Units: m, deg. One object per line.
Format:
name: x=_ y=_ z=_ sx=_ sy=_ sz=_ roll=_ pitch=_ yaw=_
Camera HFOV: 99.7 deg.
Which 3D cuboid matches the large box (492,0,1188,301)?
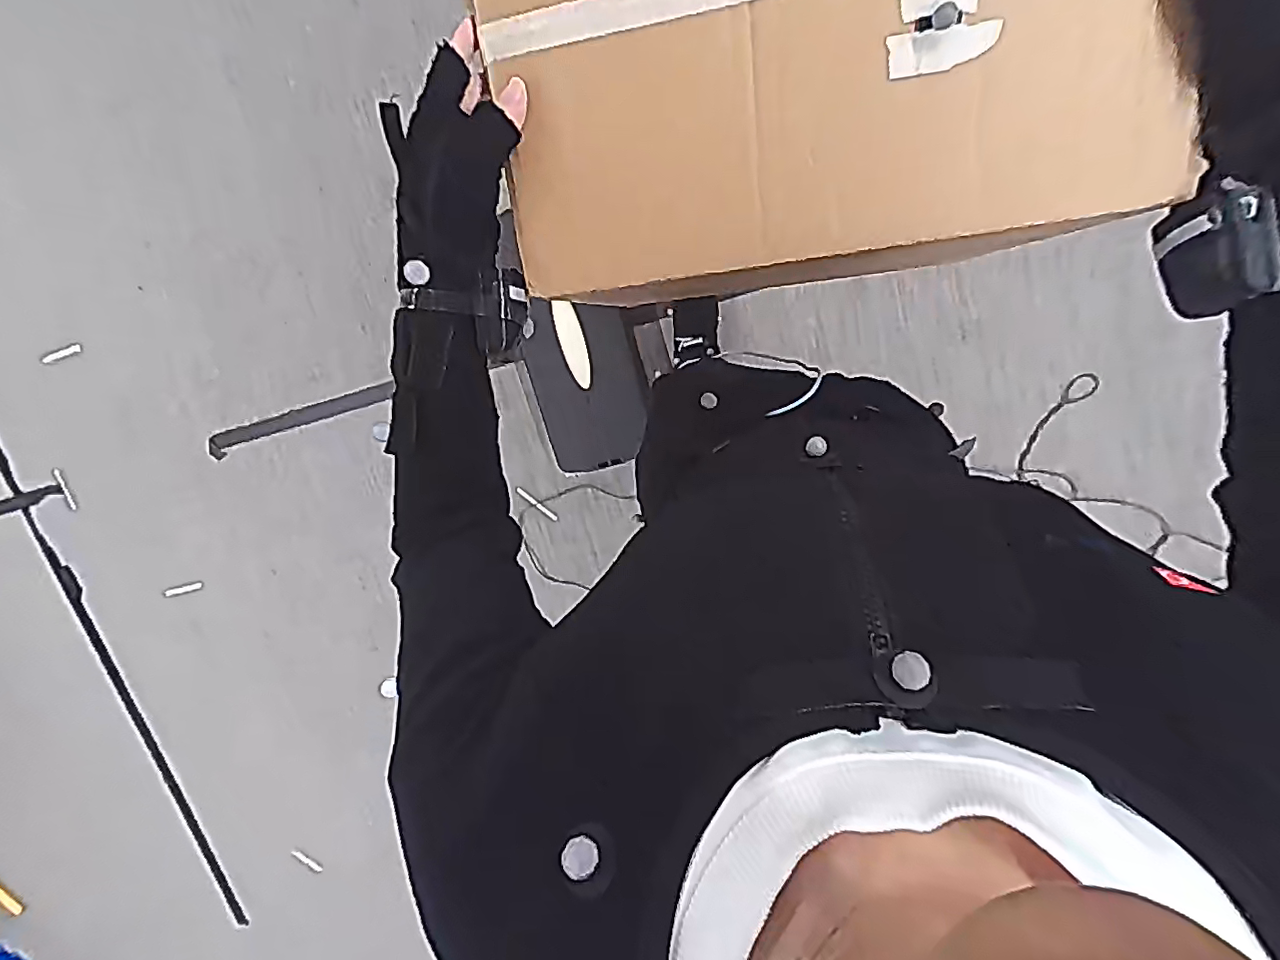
large box: x=0.122 y=-0.347 z=0.461 sx=0.408 sy=0.320 sz=0.320 roll=-5 pitch=106 yaw=11
